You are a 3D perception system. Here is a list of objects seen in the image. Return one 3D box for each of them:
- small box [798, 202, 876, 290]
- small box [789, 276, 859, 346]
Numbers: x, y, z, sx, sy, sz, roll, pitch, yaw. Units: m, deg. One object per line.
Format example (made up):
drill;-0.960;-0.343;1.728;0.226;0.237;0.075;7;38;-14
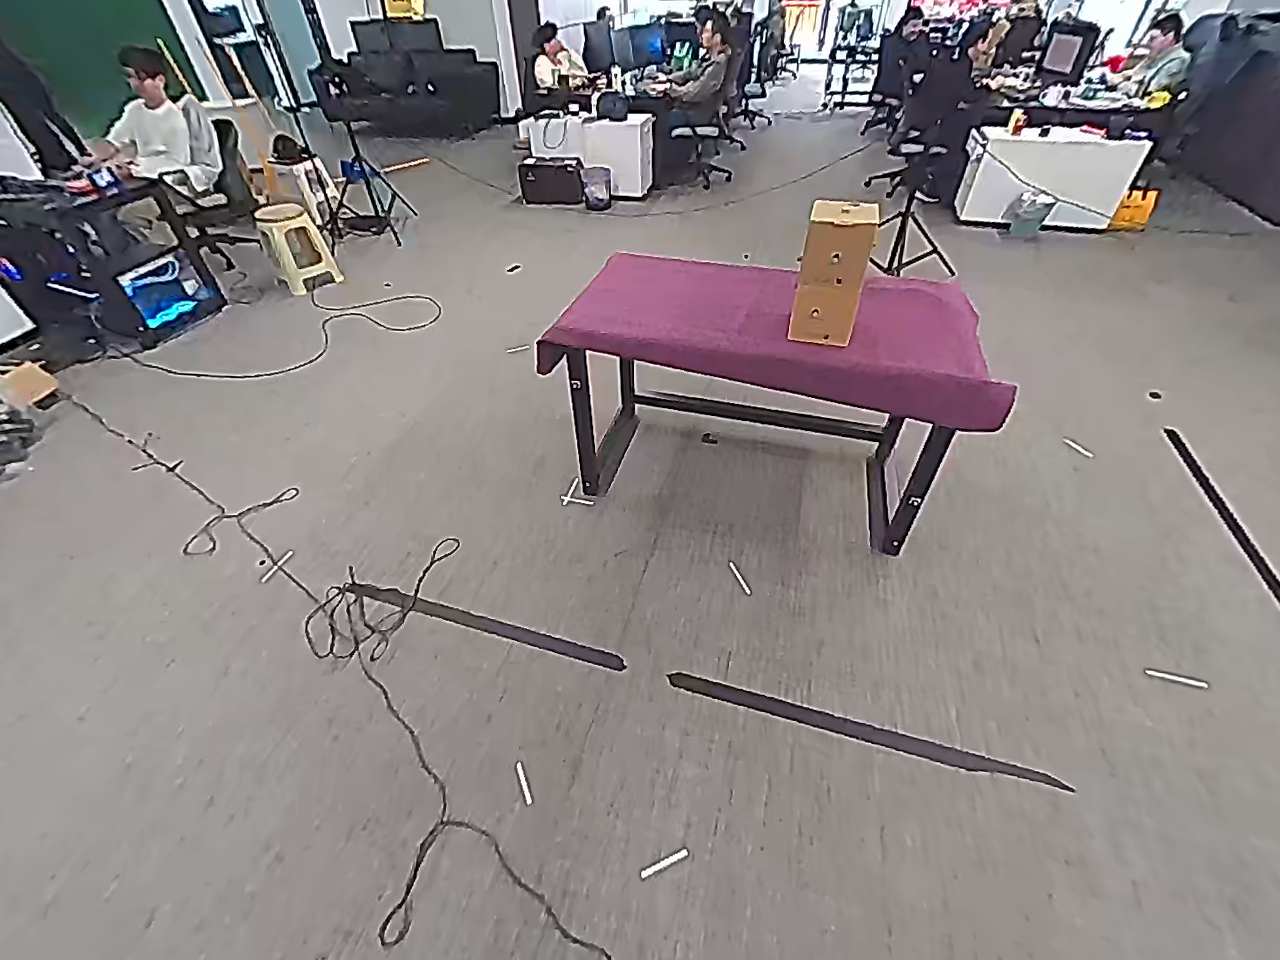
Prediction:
small box;0.526;-0.626;1.448;0.168;0.176;0.179;11;44;14
small box;0.528;-0.502;1.556;0.168;0.176;0.179;10;44;13
